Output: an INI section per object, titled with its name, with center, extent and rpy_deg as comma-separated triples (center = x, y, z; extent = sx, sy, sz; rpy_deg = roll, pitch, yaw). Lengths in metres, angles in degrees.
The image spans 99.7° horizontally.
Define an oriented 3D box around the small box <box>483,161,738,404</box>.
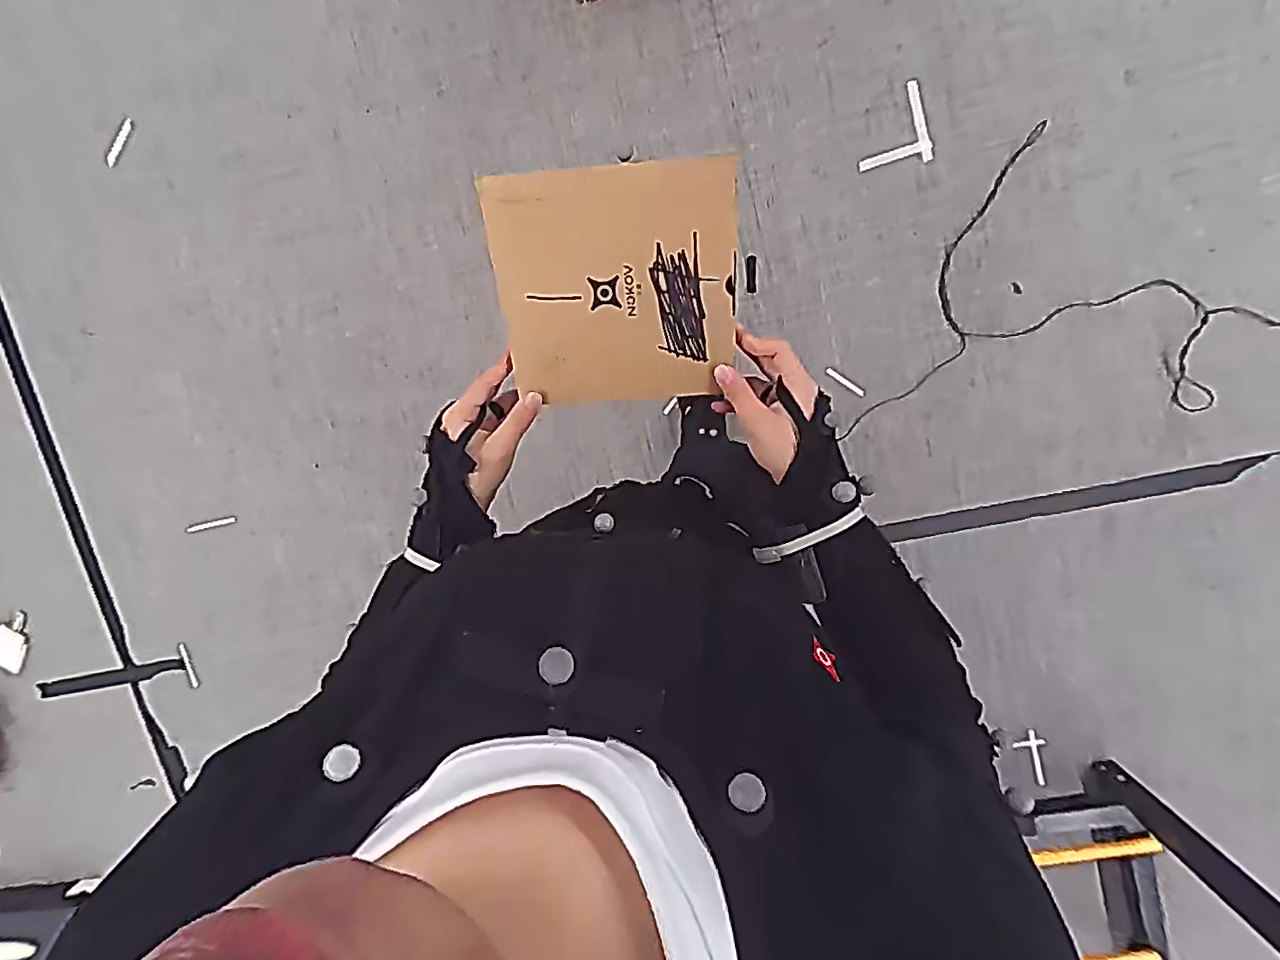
[small box]
center = -0.014, -0.176, 0.470
extent = 0.179, 0.176, 0.168
rpy_deg = -3, 118, 4
